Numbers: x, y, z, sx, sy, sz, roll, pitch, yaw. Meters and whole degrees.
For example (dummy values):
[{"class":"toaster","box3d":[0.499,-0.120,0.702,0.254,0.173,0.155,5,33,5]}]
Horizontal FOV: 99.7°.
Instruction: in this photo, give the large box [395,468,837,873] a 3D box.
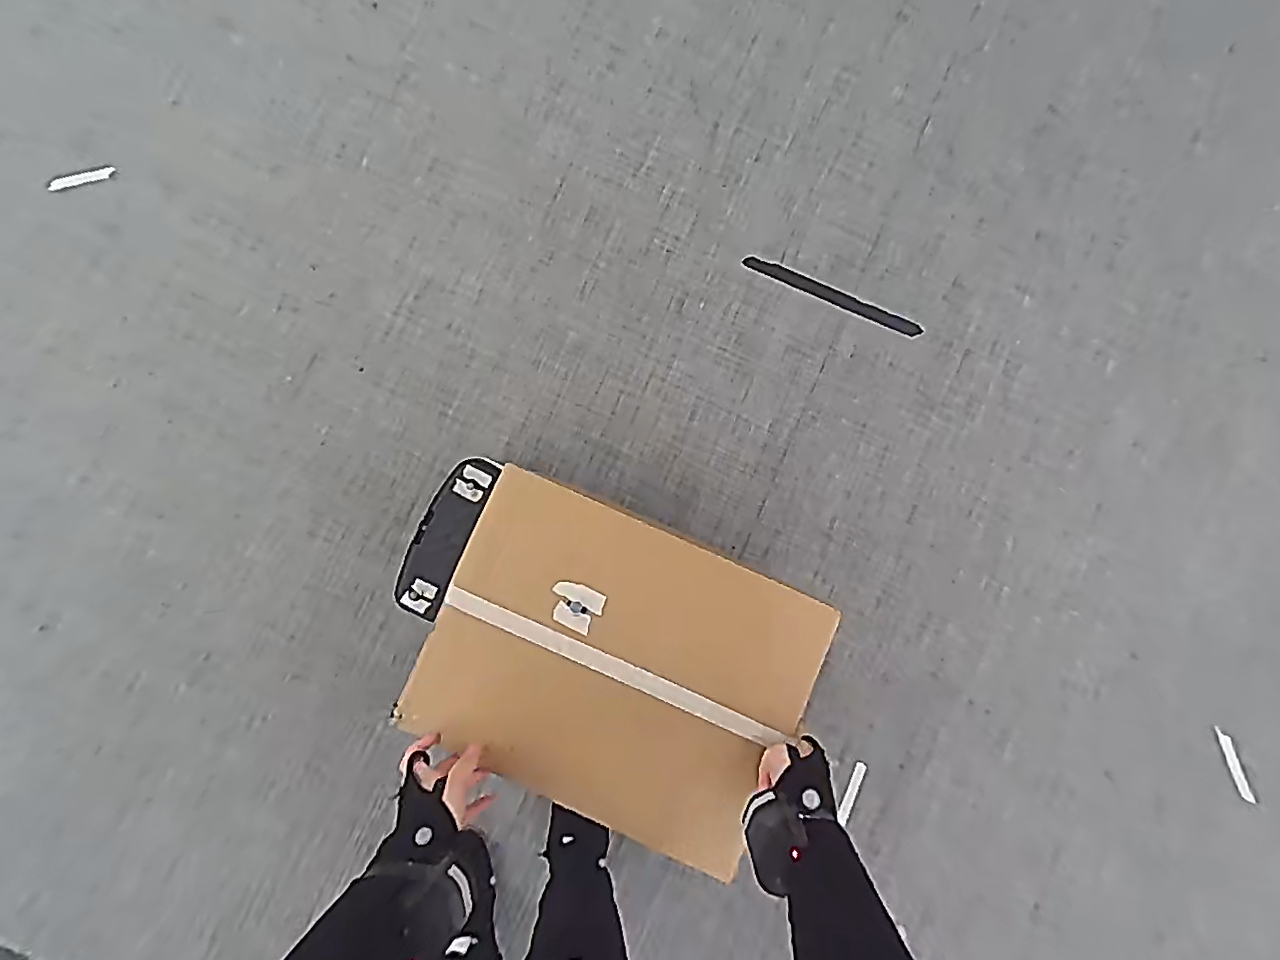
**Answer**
[{"class":"large box","box3d":[-0.021,0.210,0.730,0.408,0.320,0.320,24,86,3]}]
